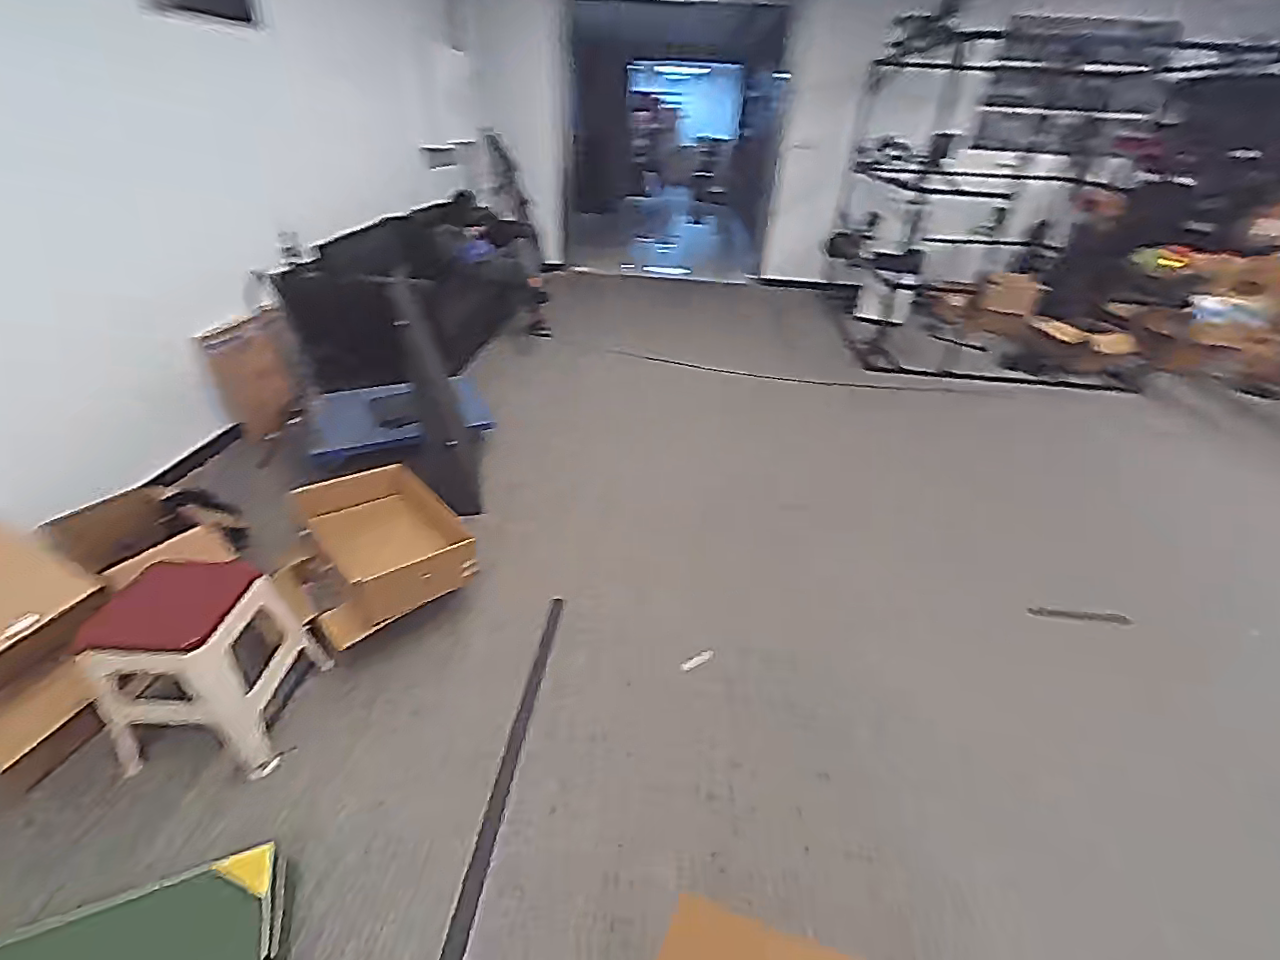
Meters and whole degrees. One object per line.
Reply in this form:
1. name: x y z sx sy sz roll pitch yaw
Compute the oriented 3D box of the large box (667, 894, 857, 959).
1. large box: 0.214 0.771 0.626 0.320 0.408 0.320 38 55 -7
